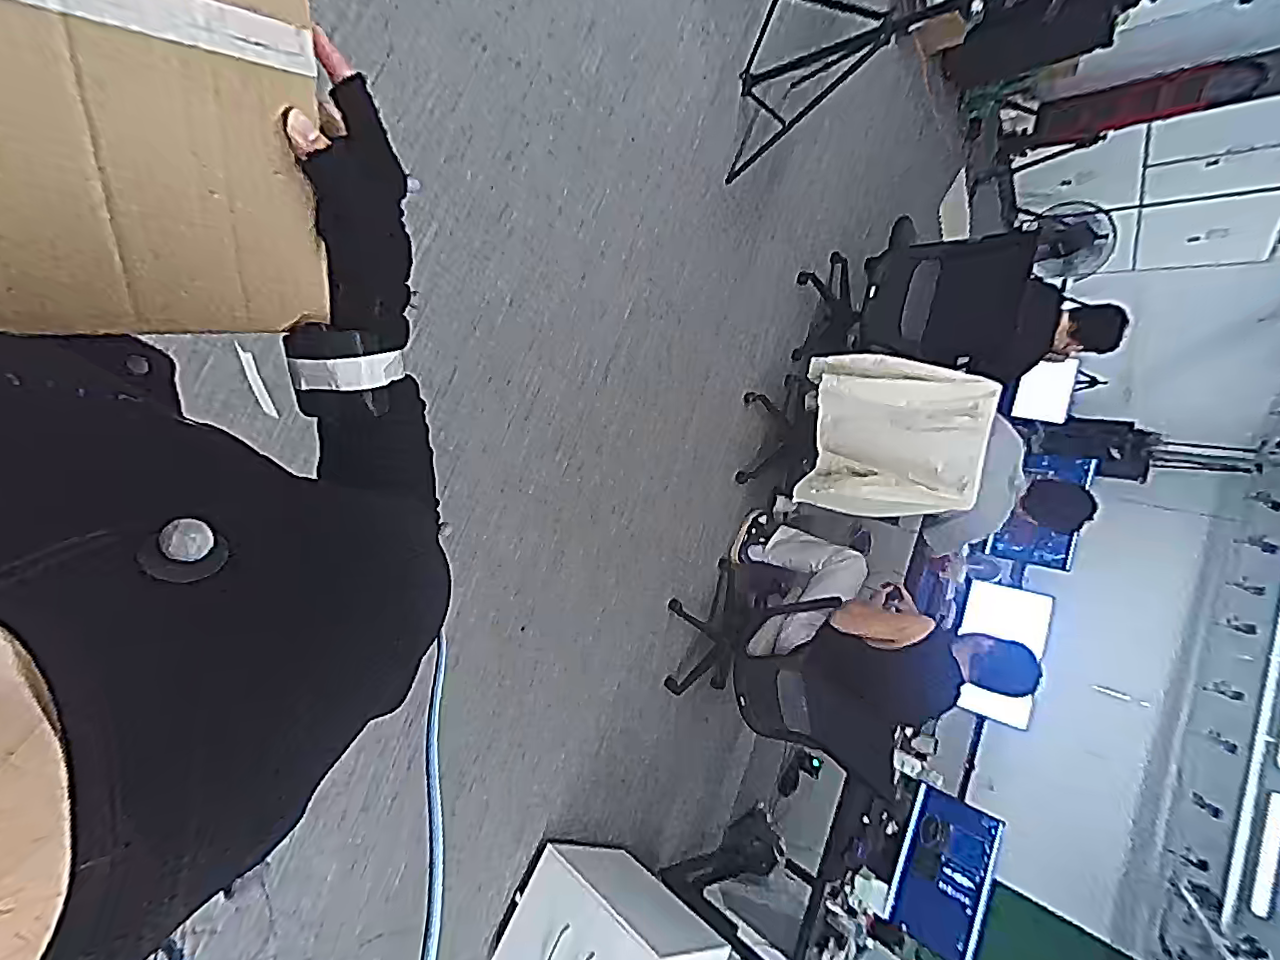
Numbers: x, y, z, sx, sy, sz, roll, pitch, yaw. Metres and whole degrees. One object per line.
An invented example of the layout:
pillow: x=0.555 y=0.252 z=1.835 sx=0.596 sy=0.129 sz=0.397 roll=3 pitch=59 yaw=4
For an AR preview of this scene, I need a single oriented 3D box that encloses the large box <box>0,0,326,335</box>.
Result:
large box: x=-0.437 y=-0.271 z=0.269 sx=0.408 sy=0.320 sz=0.320 roll=-16 pitch=133 yaw=-41
